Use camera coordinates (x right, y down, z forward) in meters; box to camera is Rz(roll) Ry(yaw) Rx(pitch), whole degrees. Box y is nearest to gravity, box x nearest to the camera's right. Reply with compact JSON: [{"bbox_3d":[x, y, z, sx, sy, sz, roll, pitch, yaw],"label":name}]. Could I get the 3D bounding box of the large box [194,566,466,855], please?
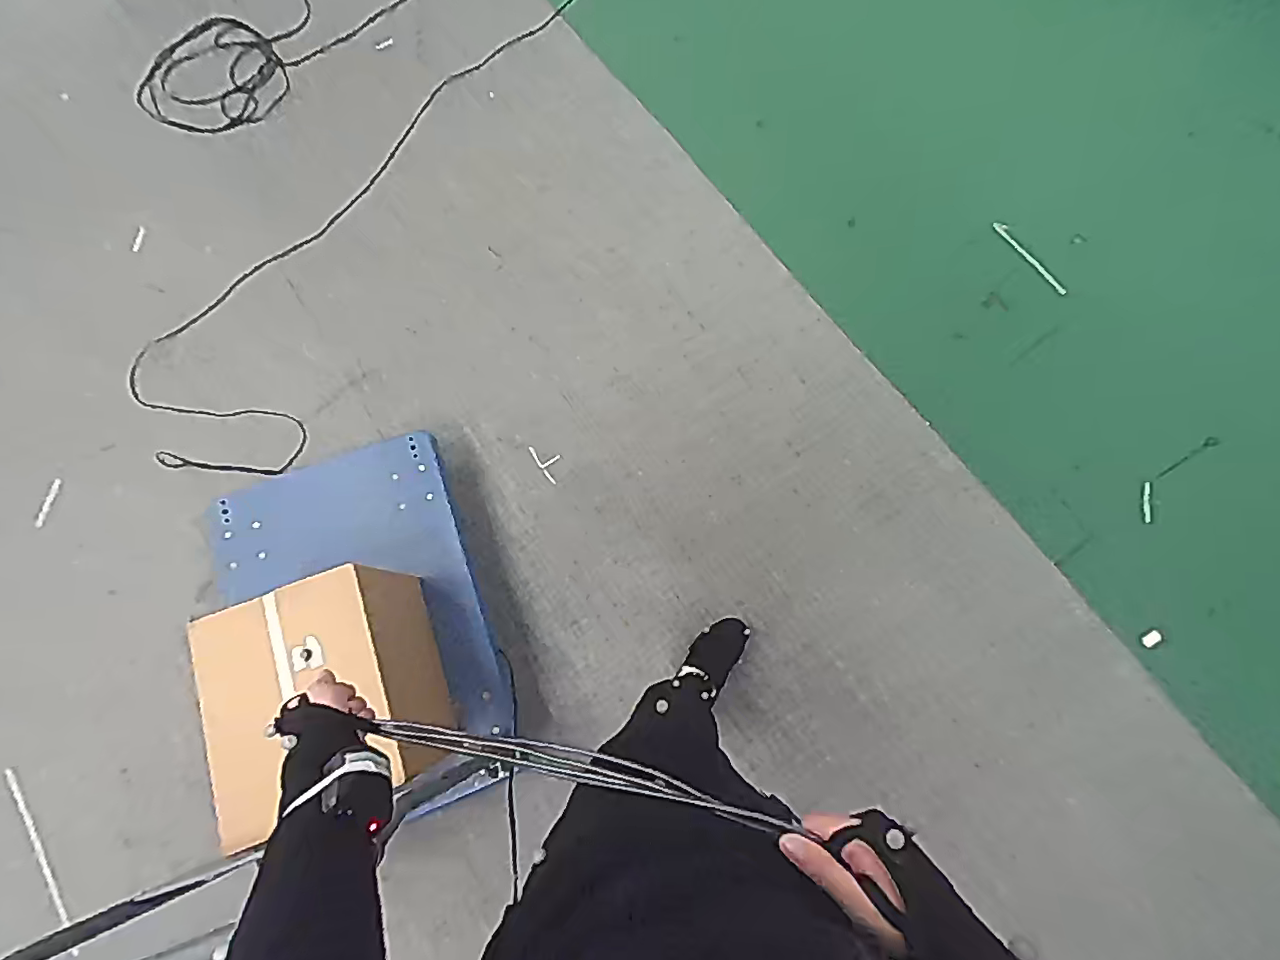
[{"bbox_3d":[-0.599,0.432,1.094,0.320,0.320,0.408,-21,74,-6],"label":"large box"}]
